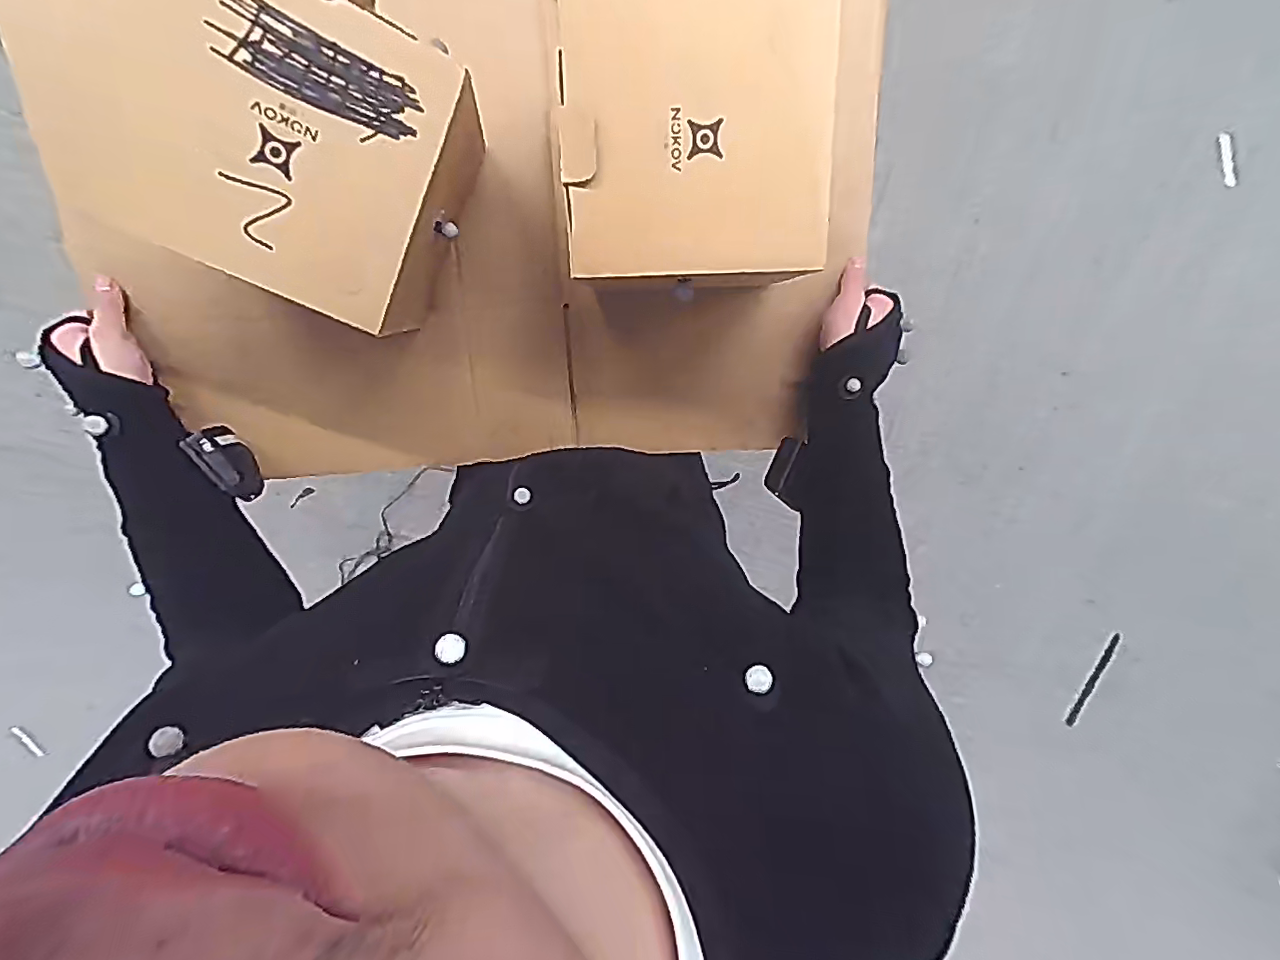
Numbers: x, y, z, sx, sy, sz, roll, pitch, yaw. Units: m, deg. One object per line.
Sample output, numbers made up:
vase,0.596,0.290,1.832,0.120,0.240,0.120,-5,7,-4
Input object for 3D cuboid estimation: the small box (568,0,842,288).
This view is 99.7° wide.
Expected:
small box,0.044,-0.248,0.439,0.179,0.176,0.168,-1,107,2
